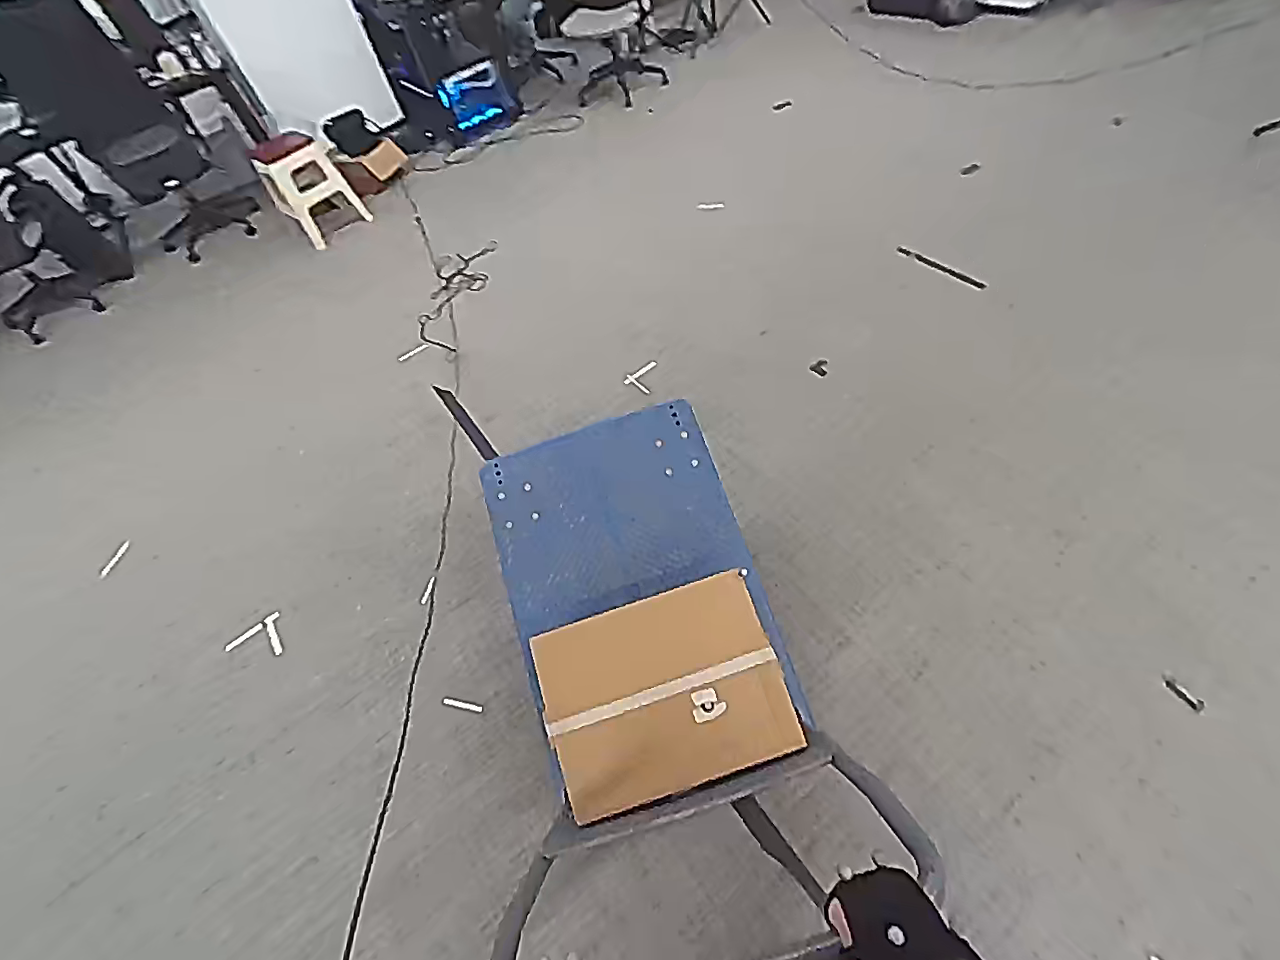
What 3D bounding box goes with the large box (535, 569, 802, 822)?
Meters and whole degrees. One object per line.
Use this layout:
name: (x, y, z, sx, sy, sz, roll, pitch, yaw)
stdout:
large box: (0.050, 0.414, 1.091, 0.408, 0.320, 0.320, -19, 73, -3)
